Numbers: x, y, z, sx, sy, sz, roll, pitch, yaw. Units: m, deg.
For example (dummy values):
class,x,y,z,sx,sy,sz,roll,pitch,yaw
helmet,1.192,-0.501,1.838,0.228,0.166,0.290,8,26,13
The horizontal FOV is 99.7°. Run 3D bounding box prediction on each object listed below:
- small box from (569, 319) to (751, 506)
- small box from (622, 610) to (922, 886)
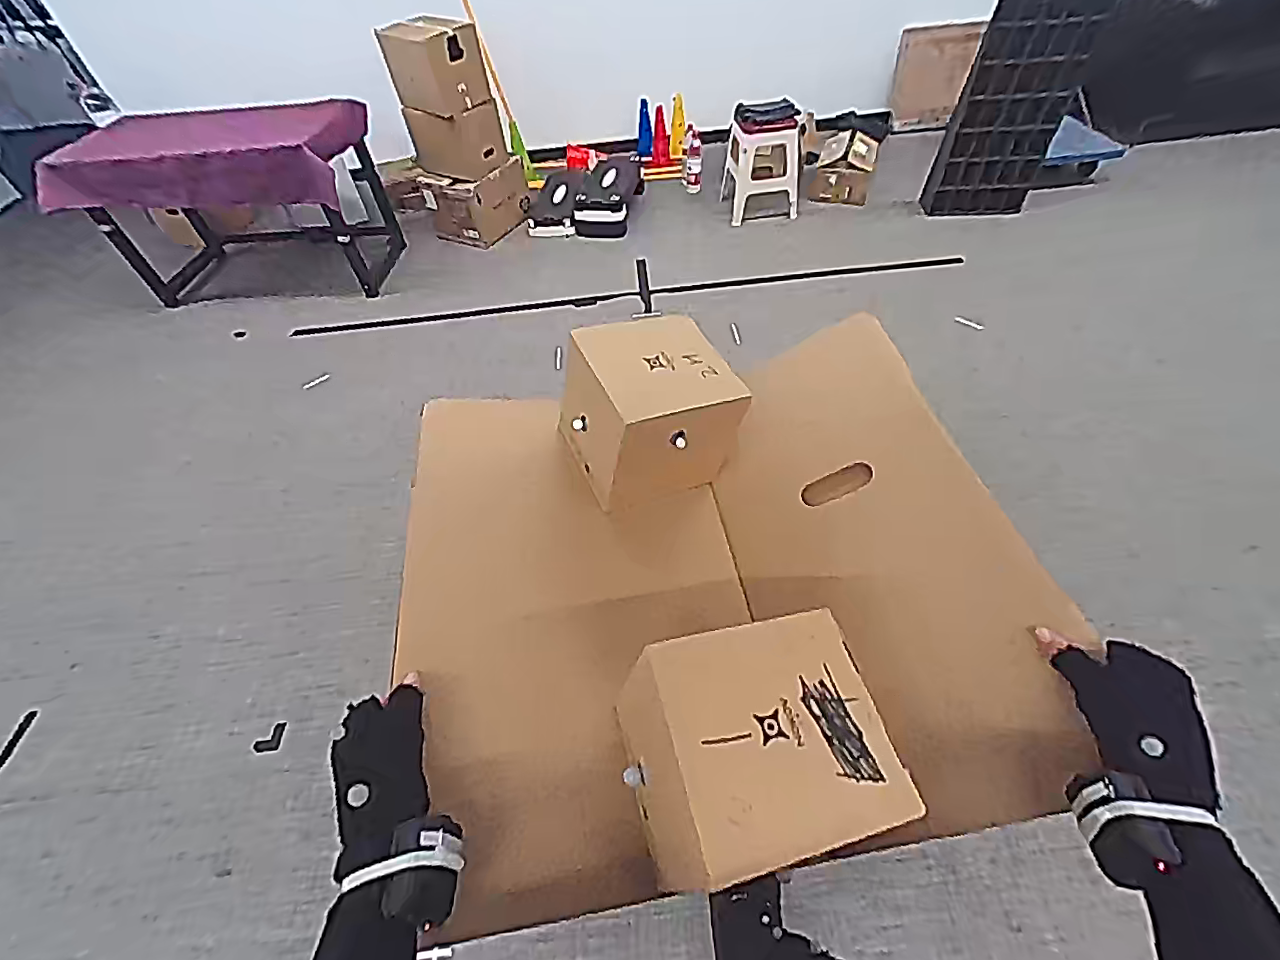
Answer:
class,x,y,z,sx,sy,sz,roll,pitch,yaw
small box,0.012,-0.087,0.717,0.179,0.176,0.168,-14,57,-24
small box,0.096,0.237,0.482,0.179,0.176,0.168,-6,55,-17
